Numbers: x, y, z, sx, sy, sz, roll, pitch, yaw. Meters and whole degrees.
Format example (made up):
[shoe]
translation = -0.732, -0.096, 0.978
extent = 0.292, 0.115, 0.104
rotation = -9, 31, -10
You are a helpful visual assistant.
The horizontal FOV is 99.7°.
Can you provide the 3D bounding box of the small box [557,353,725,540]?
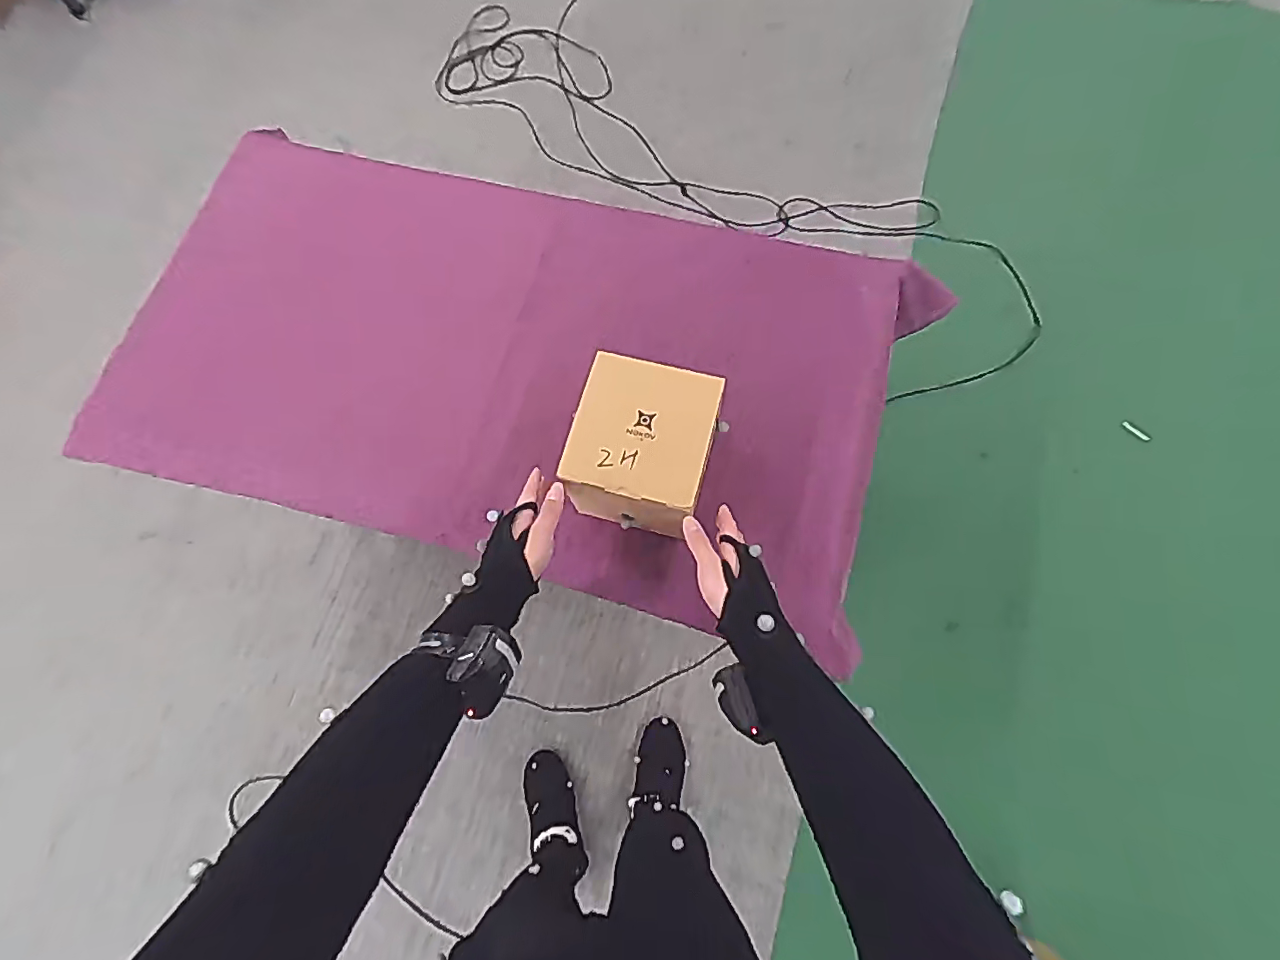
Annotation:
[small box]
translation = 0.006, -0.036, 0.722
extent = 0.168, 0.176, 0.179
rotation = 15, 74, 8
